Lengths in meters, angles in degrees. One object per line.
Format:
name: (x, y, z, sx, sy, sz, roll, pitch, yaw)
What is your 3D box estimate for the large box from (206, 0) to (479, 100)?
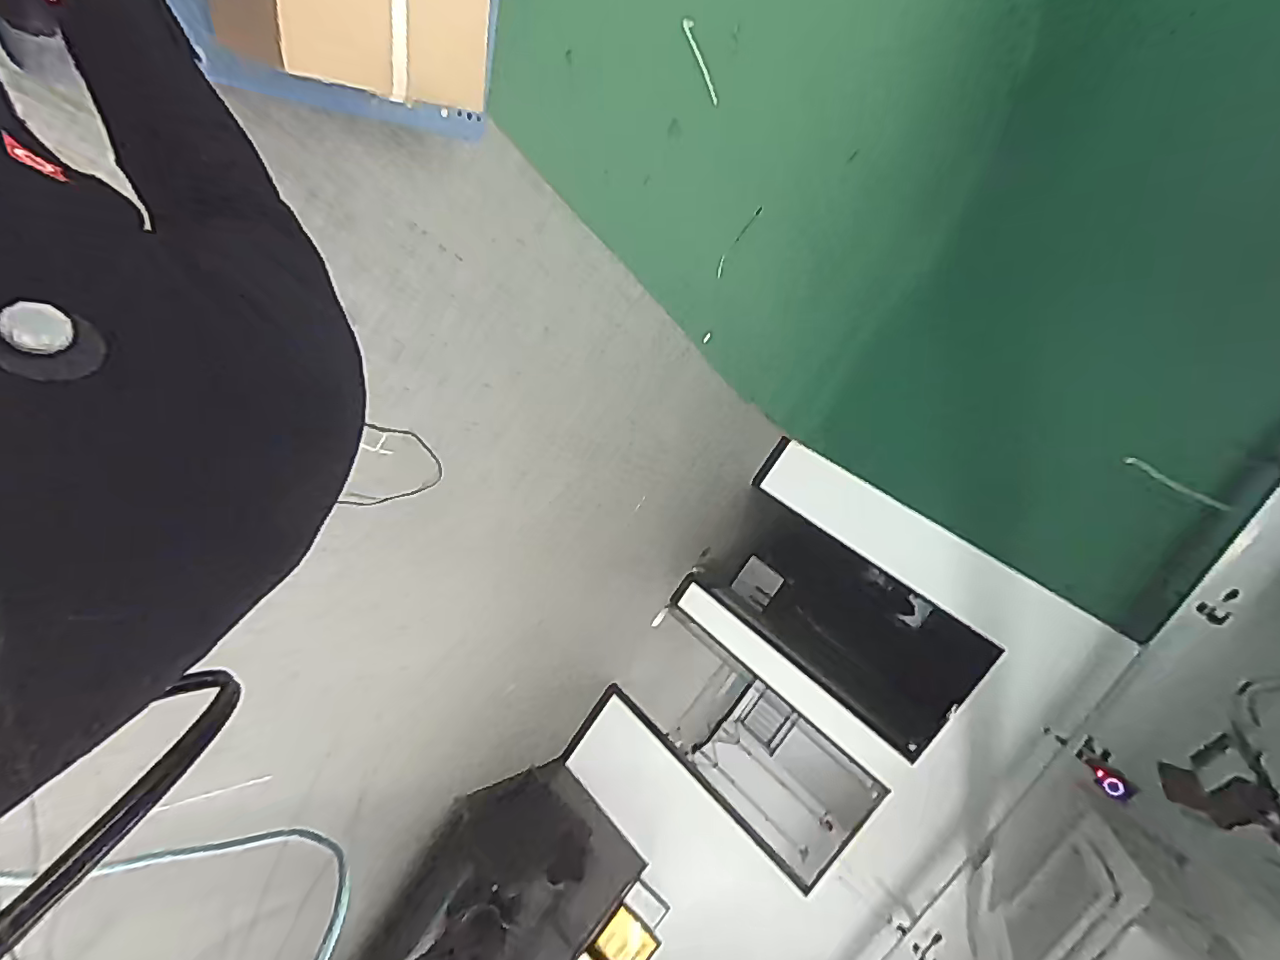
large box: (-0.453, -0.850, 0.803, 0.320, 0.320, 0.408, -23, 139, -44)
